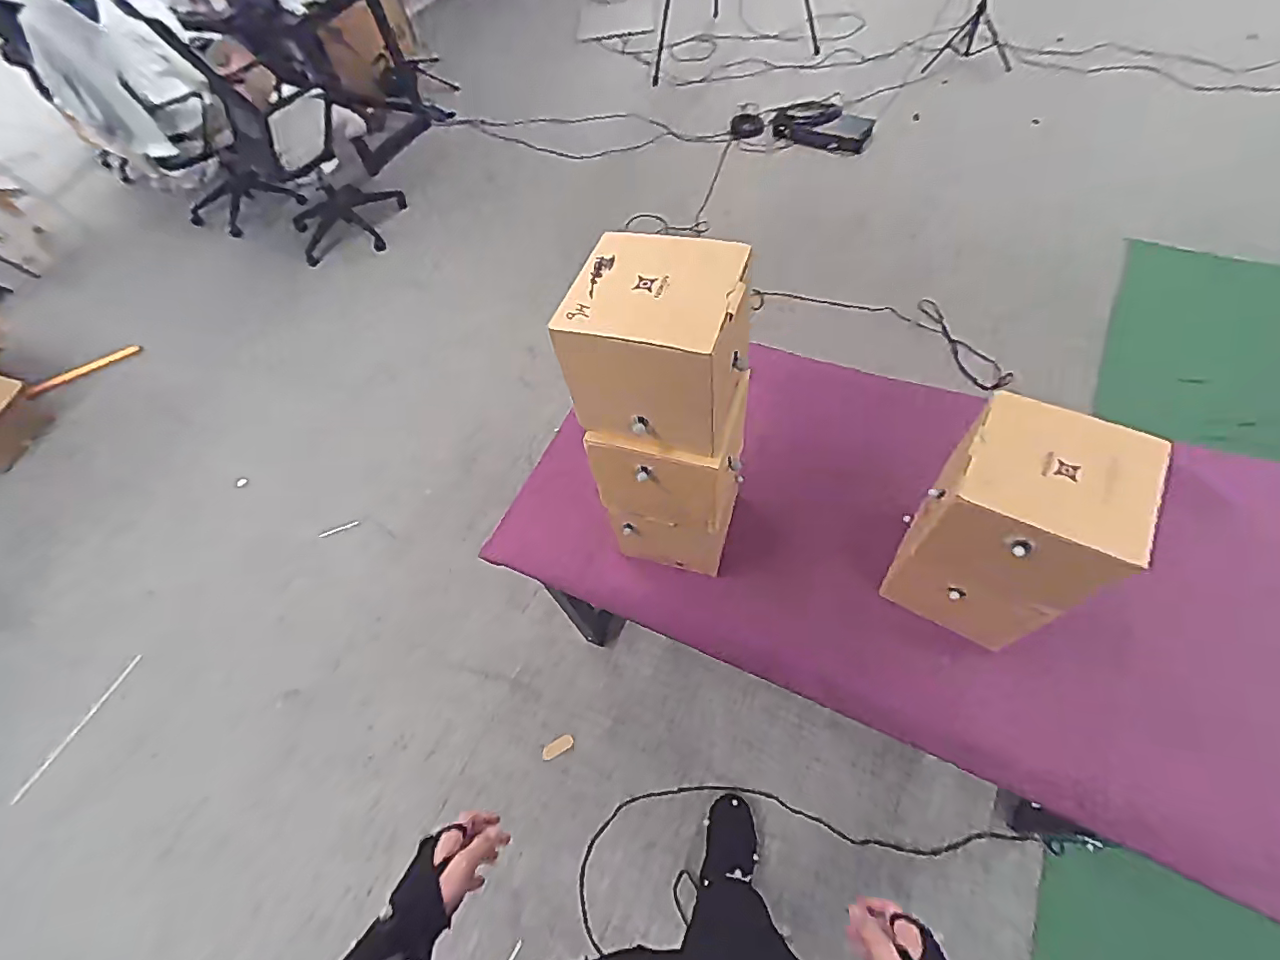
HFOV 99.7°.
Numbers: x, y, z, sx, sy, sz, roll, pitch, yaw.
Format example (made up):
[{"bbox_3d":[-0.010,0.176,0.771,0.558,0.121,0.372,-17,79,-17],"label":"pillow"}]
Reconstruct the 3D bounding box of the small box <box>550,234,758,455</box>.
[{"bbox_3d":[0.026,-0.150,0.623,0.179,0.176,0.168,14,61,16],"label":"small box"}]

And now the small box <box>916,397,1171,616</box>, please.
[{"bbox_3d":[0.458,0.037,0.642,0.179,0.176,0.168,26,67,21],"label":"small box"}]

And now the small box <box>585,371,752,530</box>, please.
[{"bbox_3d":[0.048,-0.049,0.751,0.179,0.176,0.168,13,61,16],"label":"small box"}]

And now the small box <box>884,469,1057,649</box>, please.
[{"bbox_3d":[0.481,0.119,0.781,0.179,0.176,0.168,27,66,21],"label":"small box"}]
